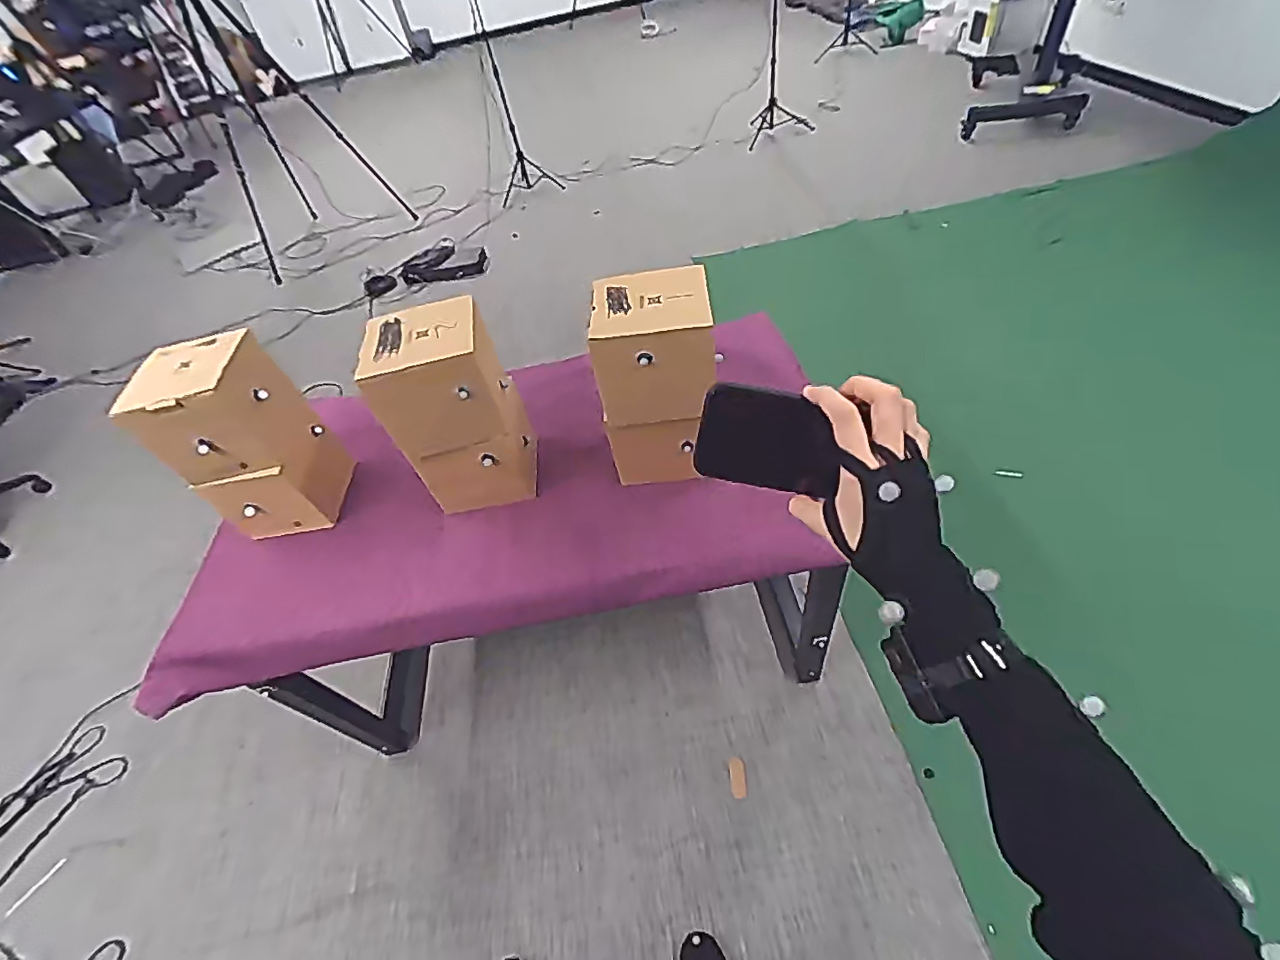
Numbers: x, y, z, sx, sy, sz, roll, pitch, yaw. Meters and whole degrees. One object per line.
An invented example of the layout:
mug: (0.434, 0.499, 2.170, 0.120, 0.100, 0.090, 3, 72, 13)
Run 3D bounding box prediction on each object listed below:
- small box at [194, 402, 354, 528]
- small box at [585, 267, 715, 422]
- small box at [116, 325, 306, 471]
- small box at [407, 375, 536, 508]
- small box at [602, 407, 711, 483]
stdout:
small box: (-0.687, -0.021, 1.043, 0.168, 0.176, 0.179, -9, 49, 3)
small box: (0.023, -0.206, 0.848, 0.179, 0.176, 0.168, -5, 49, 6)
small box: (-0.711, -0.132, 0.925, 0.168, 0.176, 0.179, -12, 50, 0)
small box: (-0.300, -0.069, 1.008, 0.179, 0.176, 0.168, -9, 49, 3)
small box: (0.037, -0.111, 0.982, 0.179, 0.176, 0.168, -5, 49, 8)
